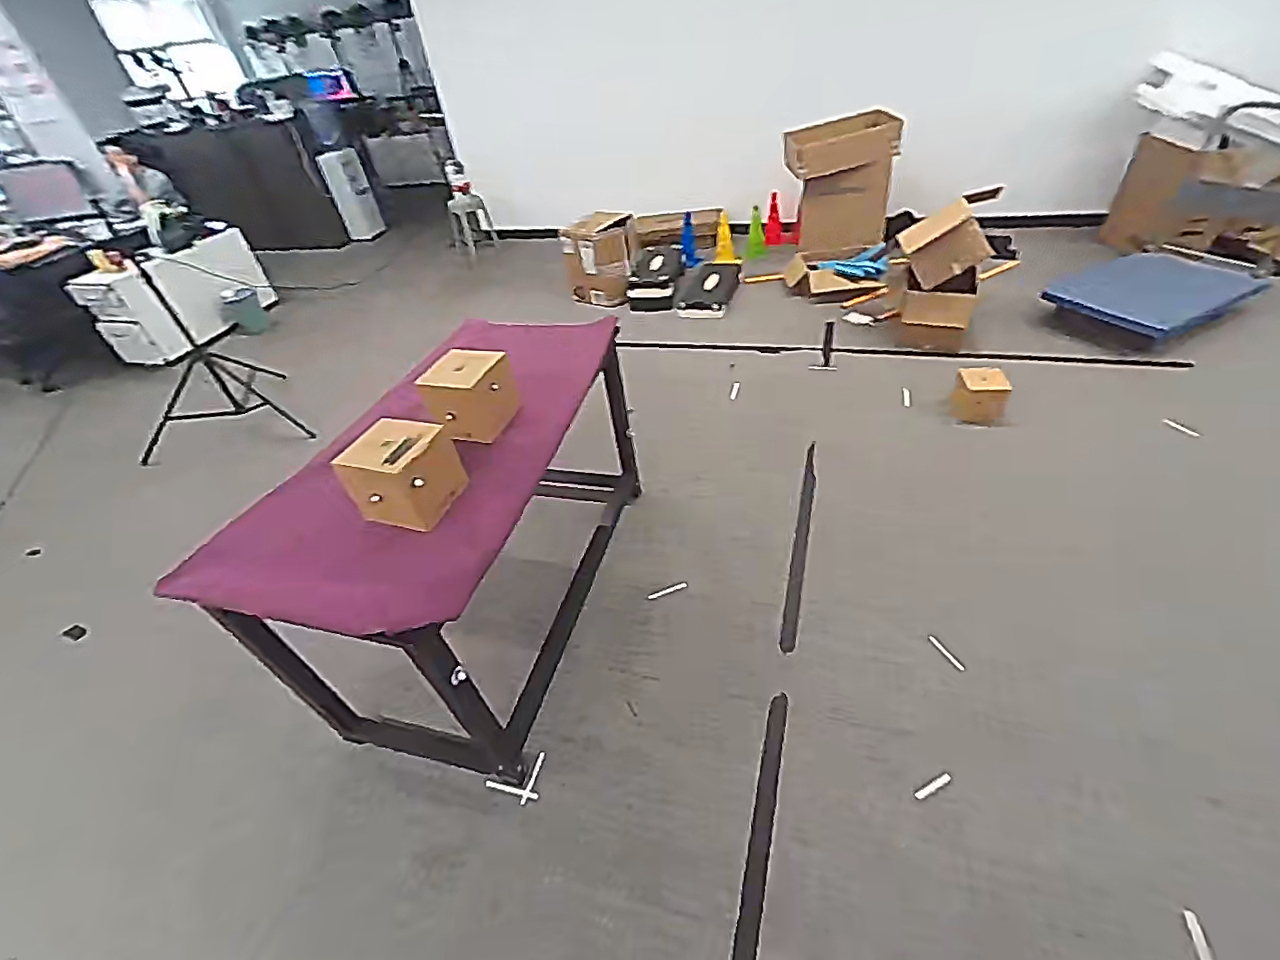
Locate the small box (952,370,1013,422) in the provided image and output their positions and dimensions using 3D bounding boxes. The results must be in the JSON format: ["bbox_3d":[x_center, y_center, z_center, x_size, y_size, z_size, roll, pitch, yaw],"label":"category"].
[{"bbox_3d":[1.489,-0.364,2.358,0.168,0.176,0.179,1,41,12],"label":"small box"}]

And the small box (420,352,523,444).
[{"bbox_3d":[-0.427,-0.213,1.404,0.168,0.176,0.179,8,43,19],"label":"small box"}]
